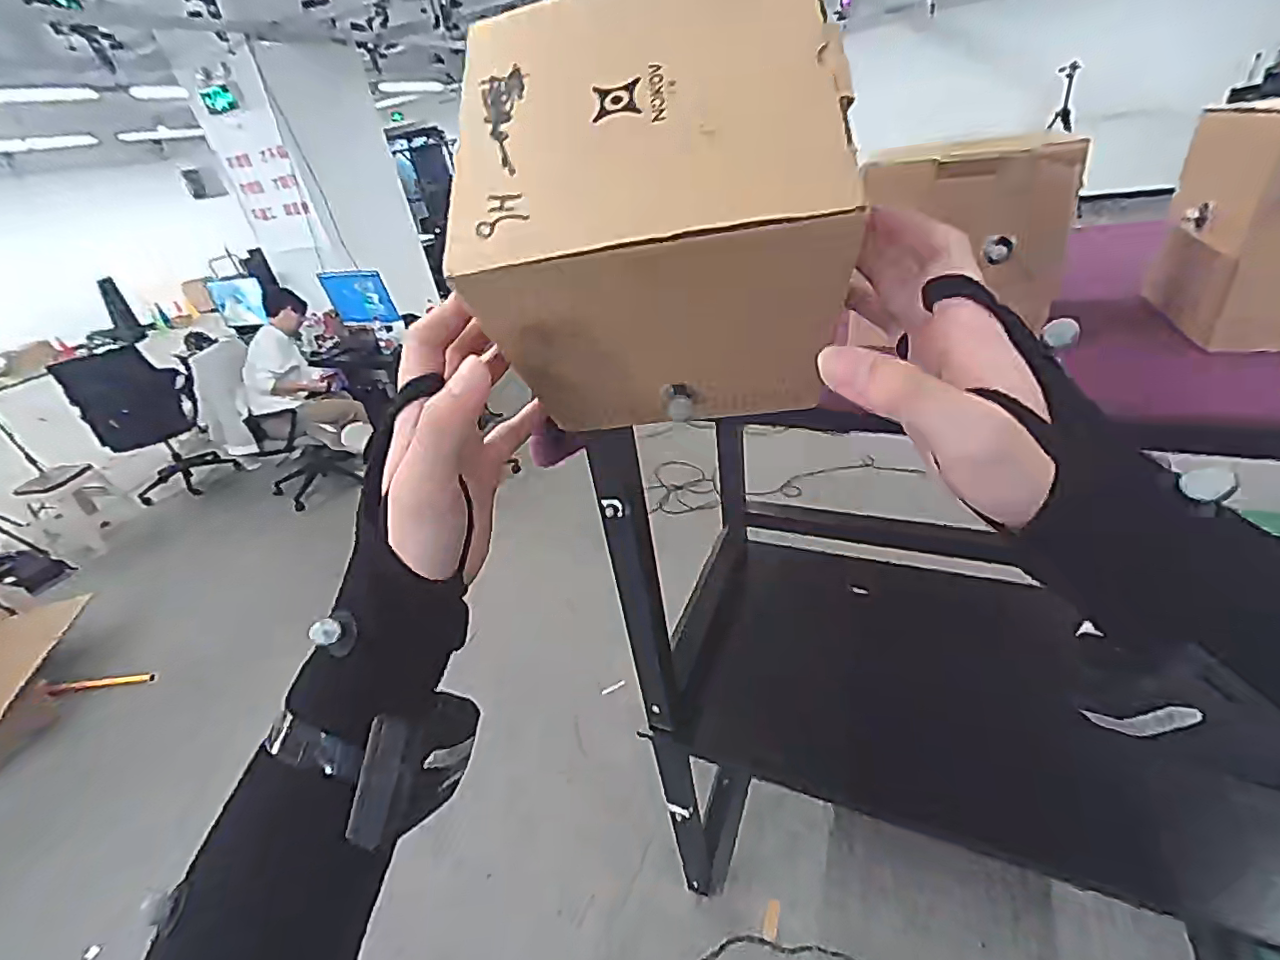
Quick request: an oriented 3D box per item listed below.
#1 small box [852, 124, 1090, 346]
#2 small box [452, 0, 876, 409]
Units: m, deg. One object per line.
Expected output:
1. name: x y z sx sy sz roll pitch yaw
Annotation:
1. small box: 0.315 -0.241 0.542 0.168 0.176 0.179 9 35 26
2. small box: 0.016 -0.155 0.318 0.179 0.176 0.168 -4 69 8
